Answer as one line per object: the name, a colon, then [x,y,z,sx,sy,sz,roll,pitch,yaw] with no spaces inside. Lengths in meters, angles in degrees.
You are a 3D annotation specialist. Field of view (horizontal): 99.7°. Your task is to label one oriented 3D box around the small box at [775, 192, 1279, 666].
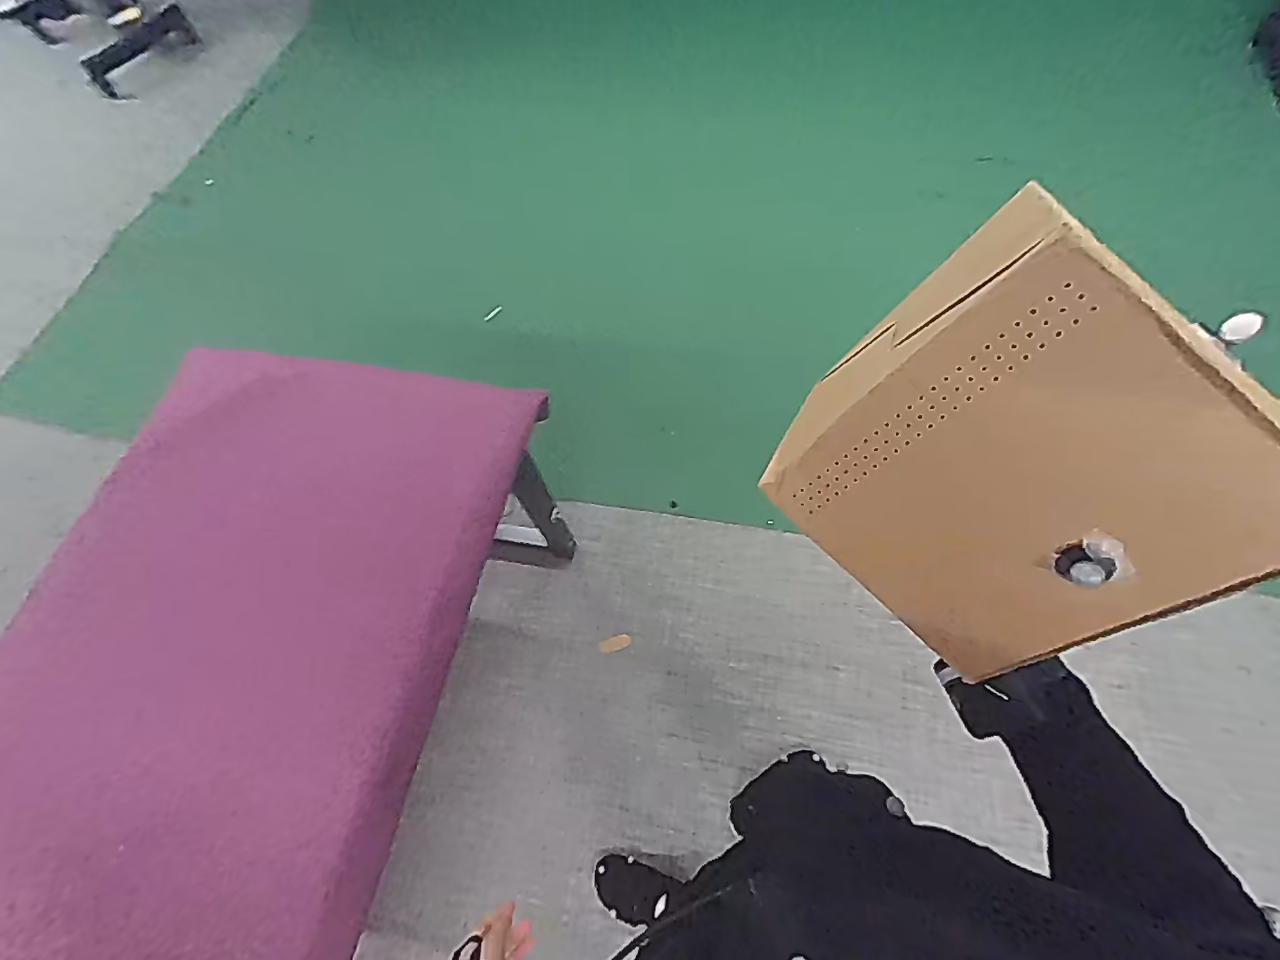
small box: [0.209,-0.036,0.304,0.176,0.179,0.168,44,42,1]
